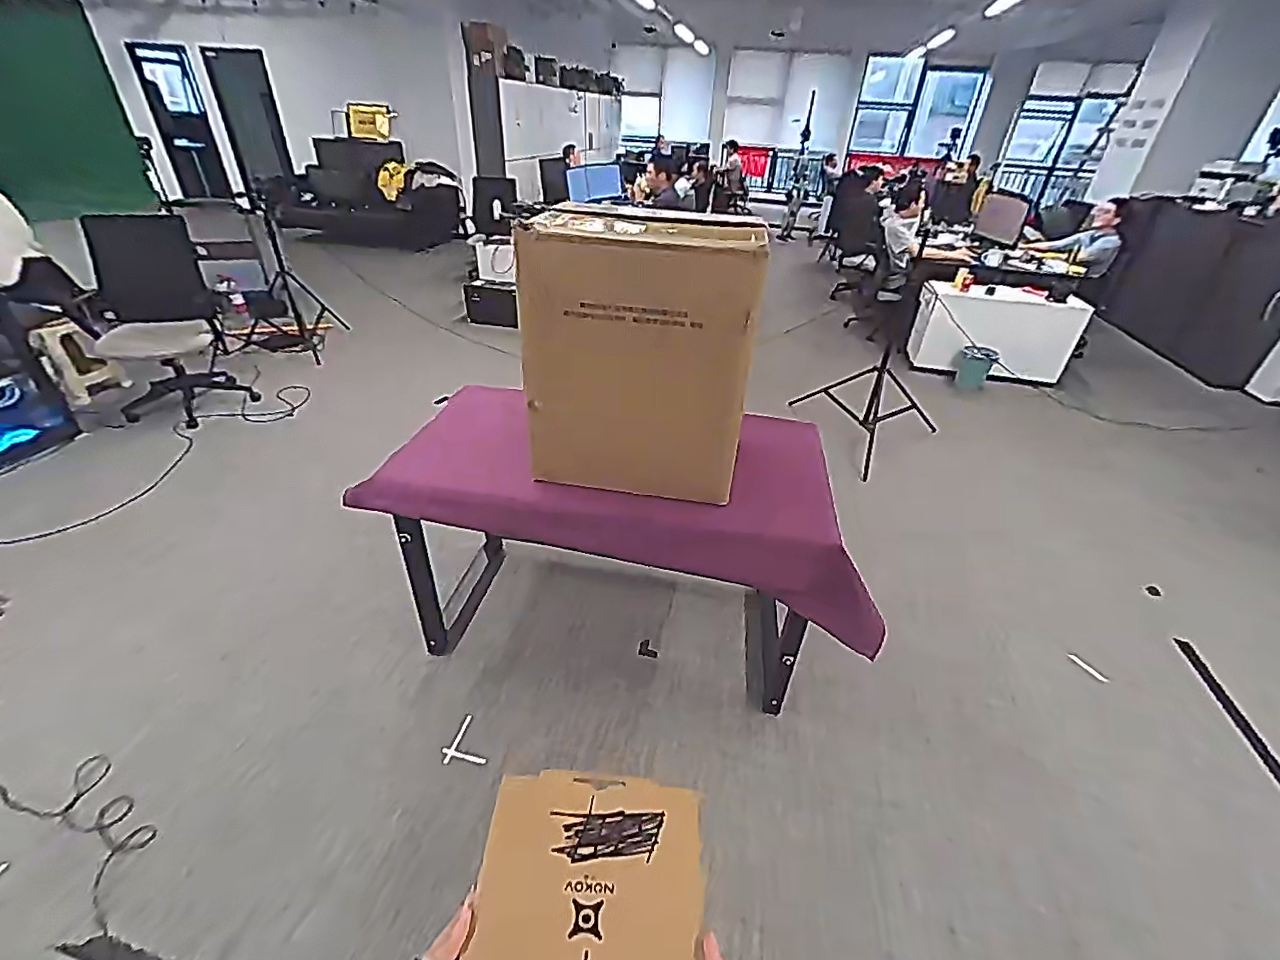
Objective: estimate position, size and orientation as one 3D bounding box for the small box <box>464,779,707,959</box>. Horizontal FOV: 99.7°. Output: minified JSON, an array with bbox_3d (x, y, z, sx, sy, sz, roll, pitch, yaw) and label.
[{"bbox_3d":[-0.042,0.373,0.429,0.168,0.176,0.179,4,32,-2],"label":"small box"}]
